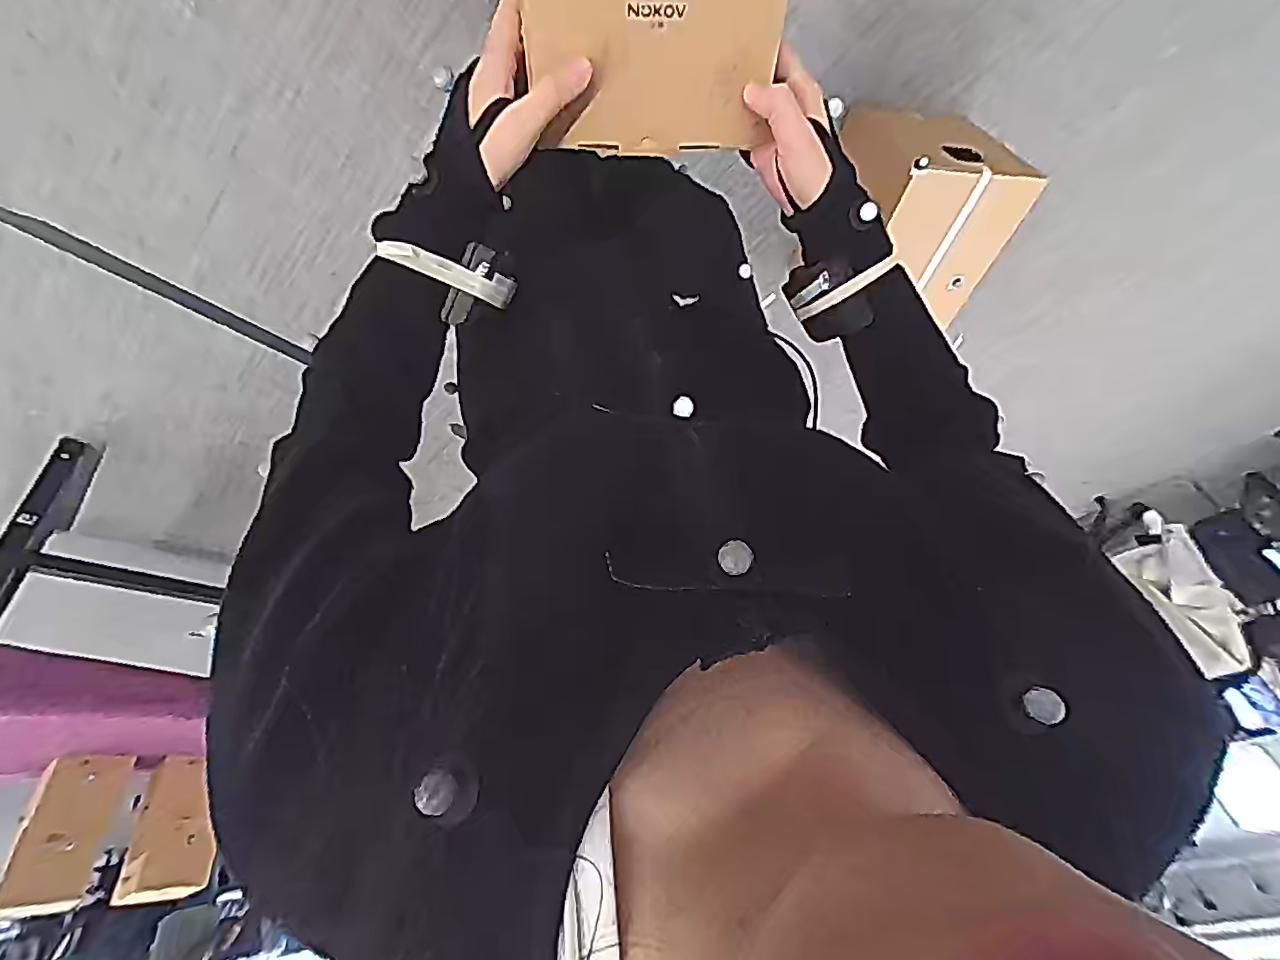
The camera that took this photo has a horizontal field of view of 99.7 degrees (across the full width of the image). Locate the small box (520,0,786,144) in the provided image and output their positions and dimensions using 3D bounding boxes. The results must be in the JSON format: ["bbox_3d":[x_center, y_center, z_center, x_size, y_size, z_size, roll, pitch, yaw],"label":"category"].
[{"bbox_3d":[0.002,-0.362,0.372,0.168,0.176,0.179,-3,142,-6],"label":"small box"}]

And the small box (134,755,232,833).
[{"bbox_3d":[-1.356,0.933,1.615,0.179,0.176,0.168,-35,138,27],"label":"small box"}]

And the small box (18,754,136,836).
[{"bbox_3d":[-1.523,0.861,1.472,0.179,0.176,0.168,-35,138,27],"label":"small box"}]

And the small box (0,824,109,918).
[{"bbox_3d":[-1.502,0.989,1.373,0.179,0.176,0.168,-38,137,28],"label":"small box"}]

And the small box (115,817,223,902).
[{"bbox_3d":[-1.322,1.068,1.529,0.179,0.176,0.168,-34,138,25],"label":"small box"}]
